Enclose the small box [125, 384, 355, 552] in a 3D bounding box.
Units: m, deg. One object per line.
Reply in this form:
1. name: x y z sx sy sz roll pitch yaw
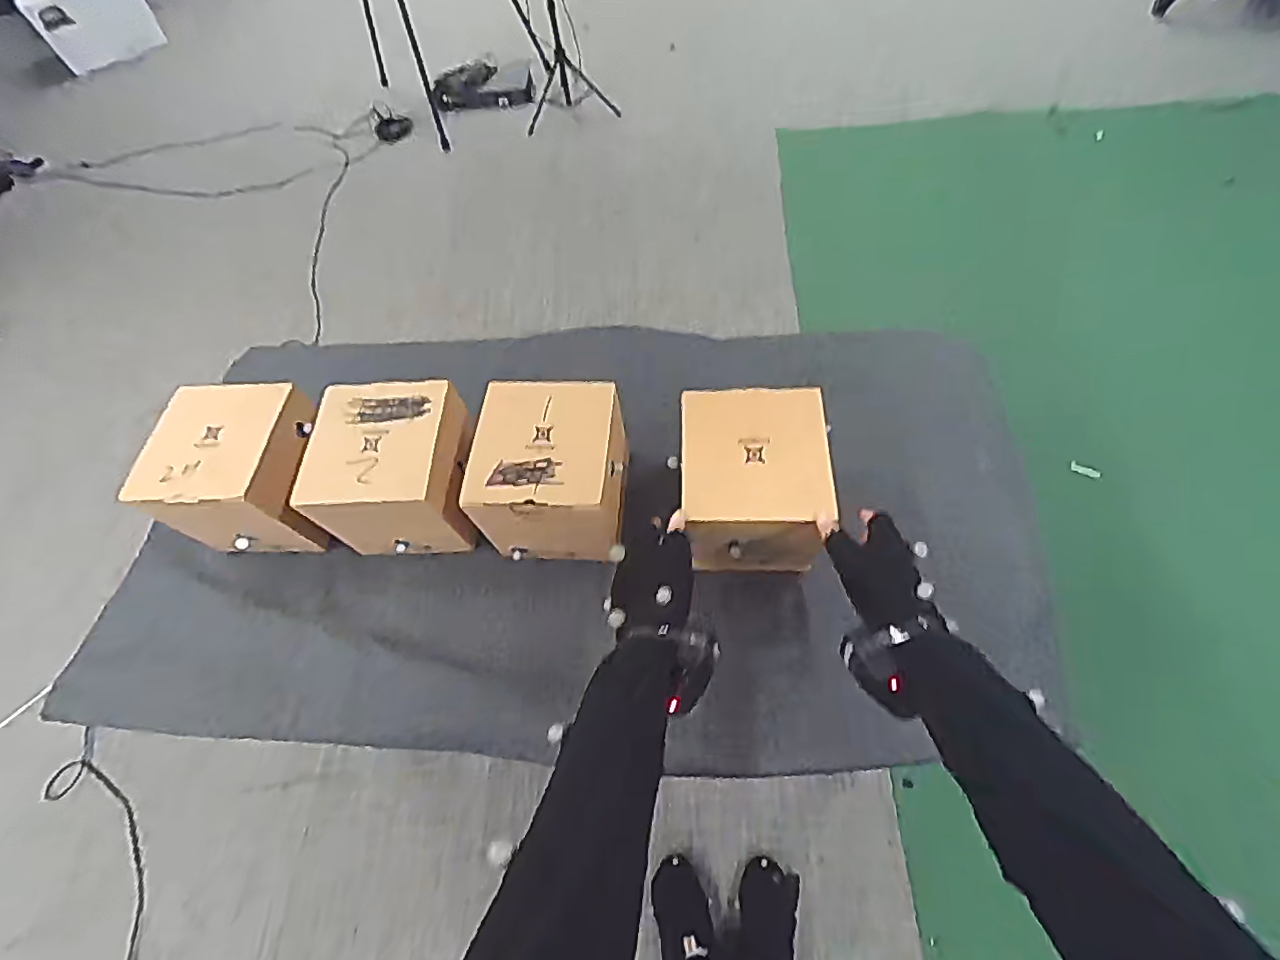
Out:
1. small box: -0.531 -0.013 0.753 0.168 0.176 0.179 -1 62 5
